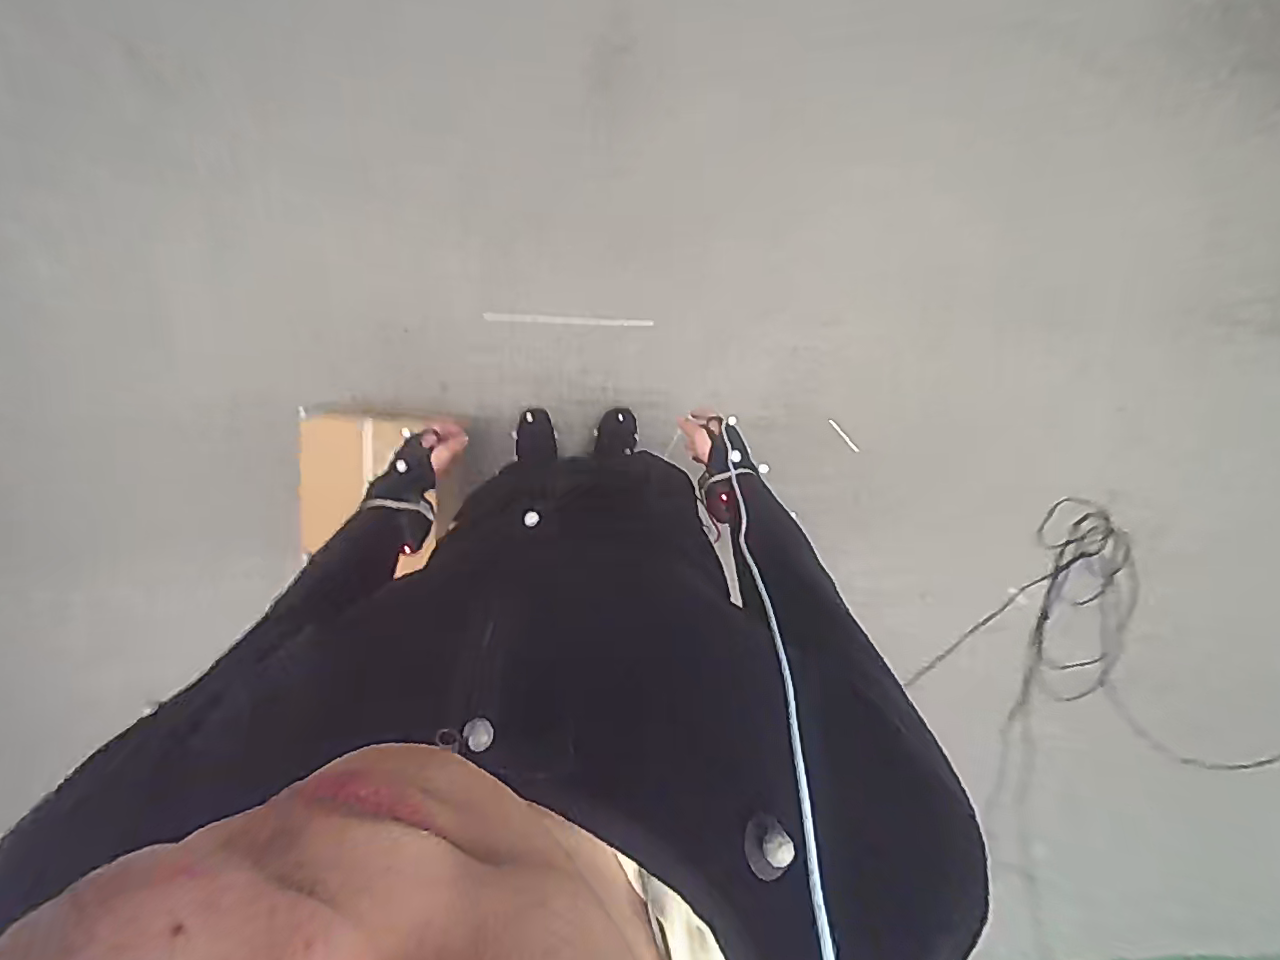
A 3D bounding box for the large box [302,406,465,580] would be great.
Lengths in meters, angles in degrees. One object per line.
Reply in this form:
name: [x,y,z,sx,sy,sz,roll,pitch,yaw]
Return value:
large box: [-0.664,0.021,1.450,0.320,0.320,0.408,5,100,-7]
